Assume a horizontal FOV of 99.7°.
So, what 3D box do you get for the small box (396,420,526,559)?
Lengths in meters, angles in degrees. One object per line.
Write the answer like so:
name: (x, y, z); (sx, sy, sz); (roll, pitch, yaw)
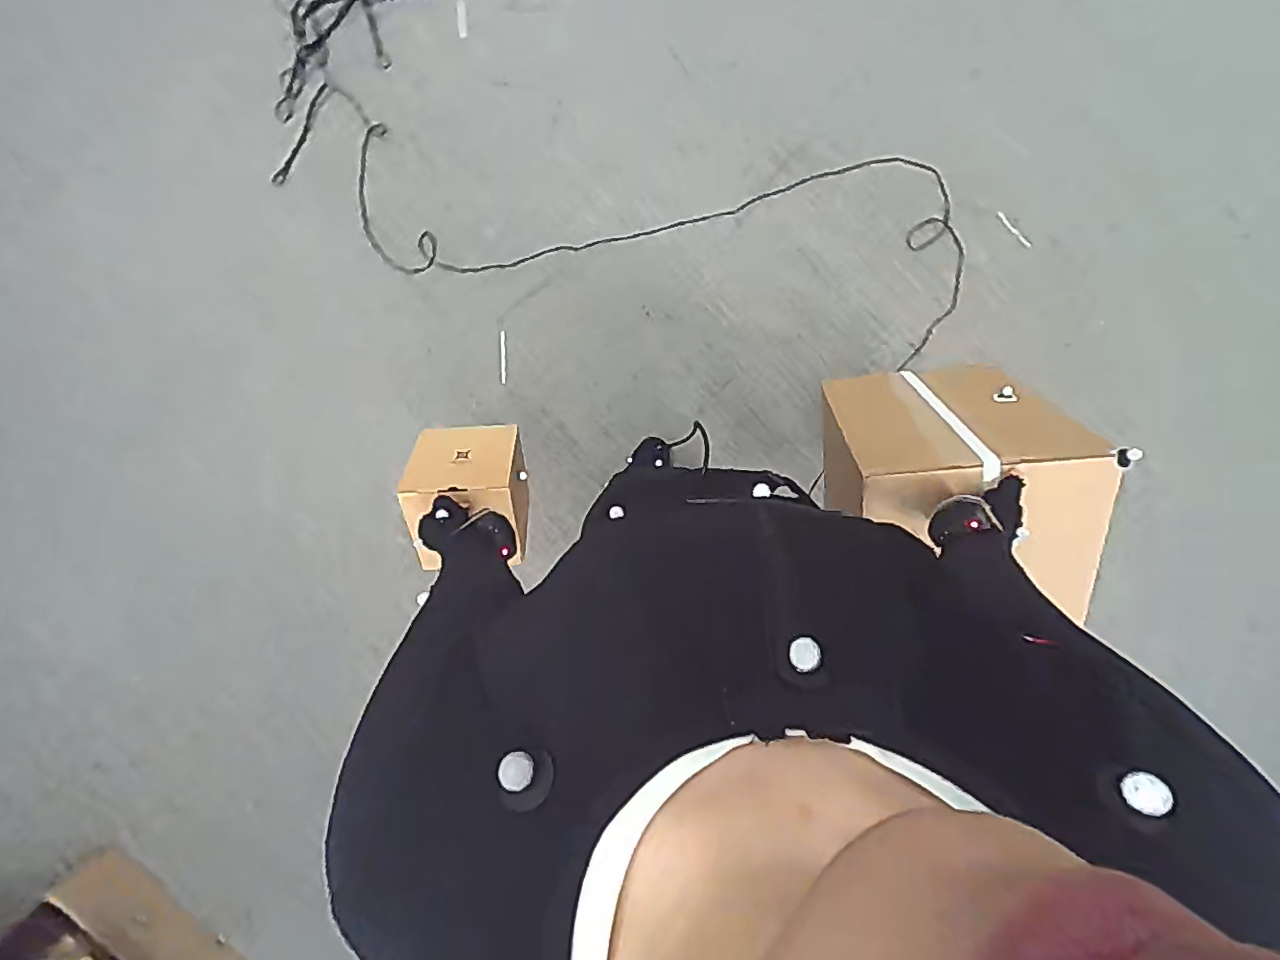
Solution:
small box: (-0.290, 0.014, 0.917); (0.168, 0.179, 0.176); (-2, 130, -4)
